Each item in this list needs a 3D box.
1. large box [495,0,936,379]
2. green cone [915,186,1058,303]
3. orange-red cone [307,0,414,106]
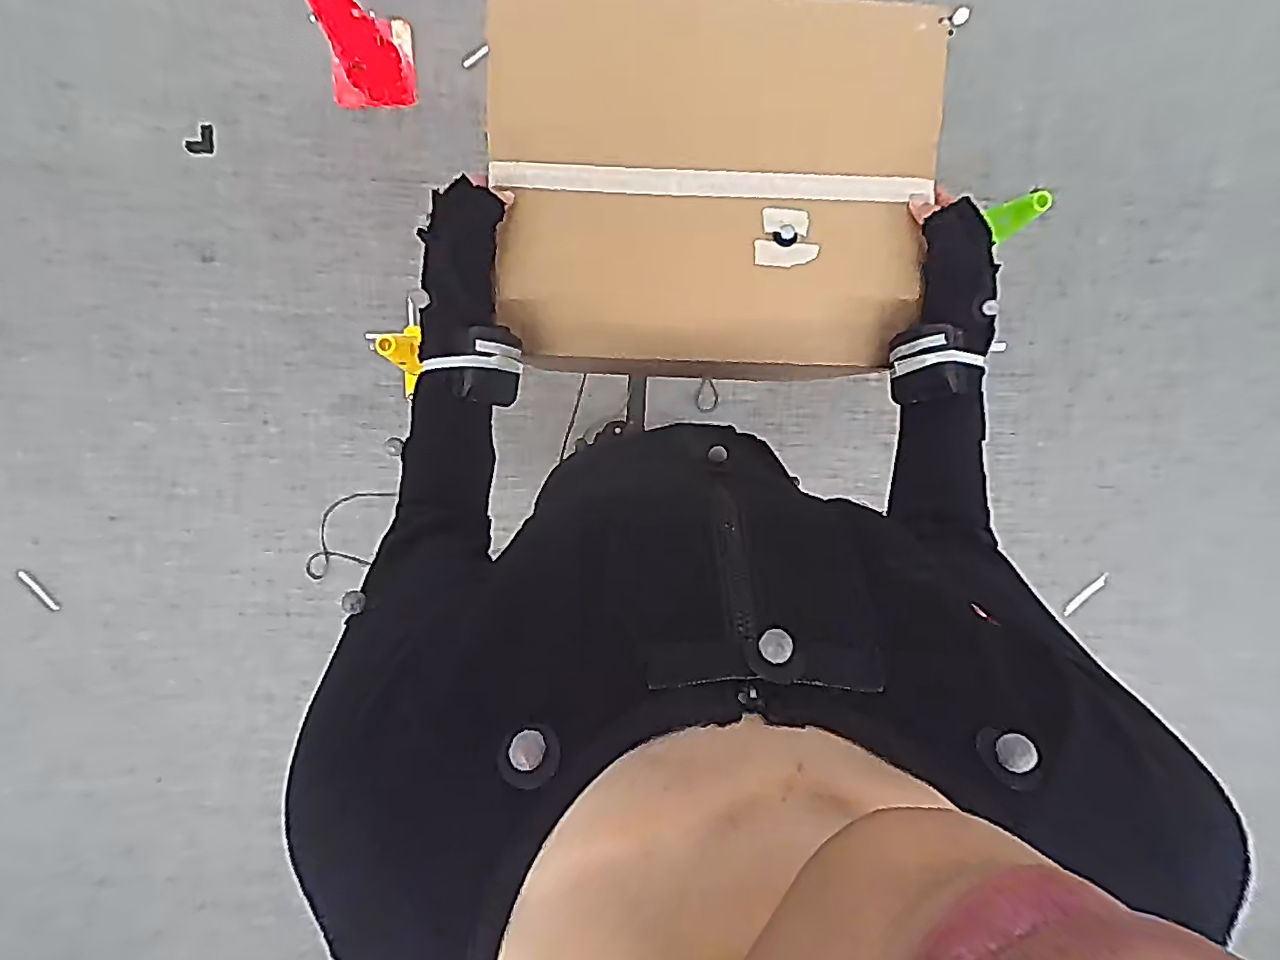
[{"bbox_3d":[0.061,-0.289,0.646,0.408,0.320,0.320,2,98,-2],"label":"large box"},{"bbox_3d":[0.810,-0.585,1.265,0.202,0.368,0.200,-36,97,1],"label":"green cone"},{"bbox_3d":[-0.663,-1.018,1.179,0.198,0.360,0.199,-1,97,-1],"label":"orange-red cone"}]
